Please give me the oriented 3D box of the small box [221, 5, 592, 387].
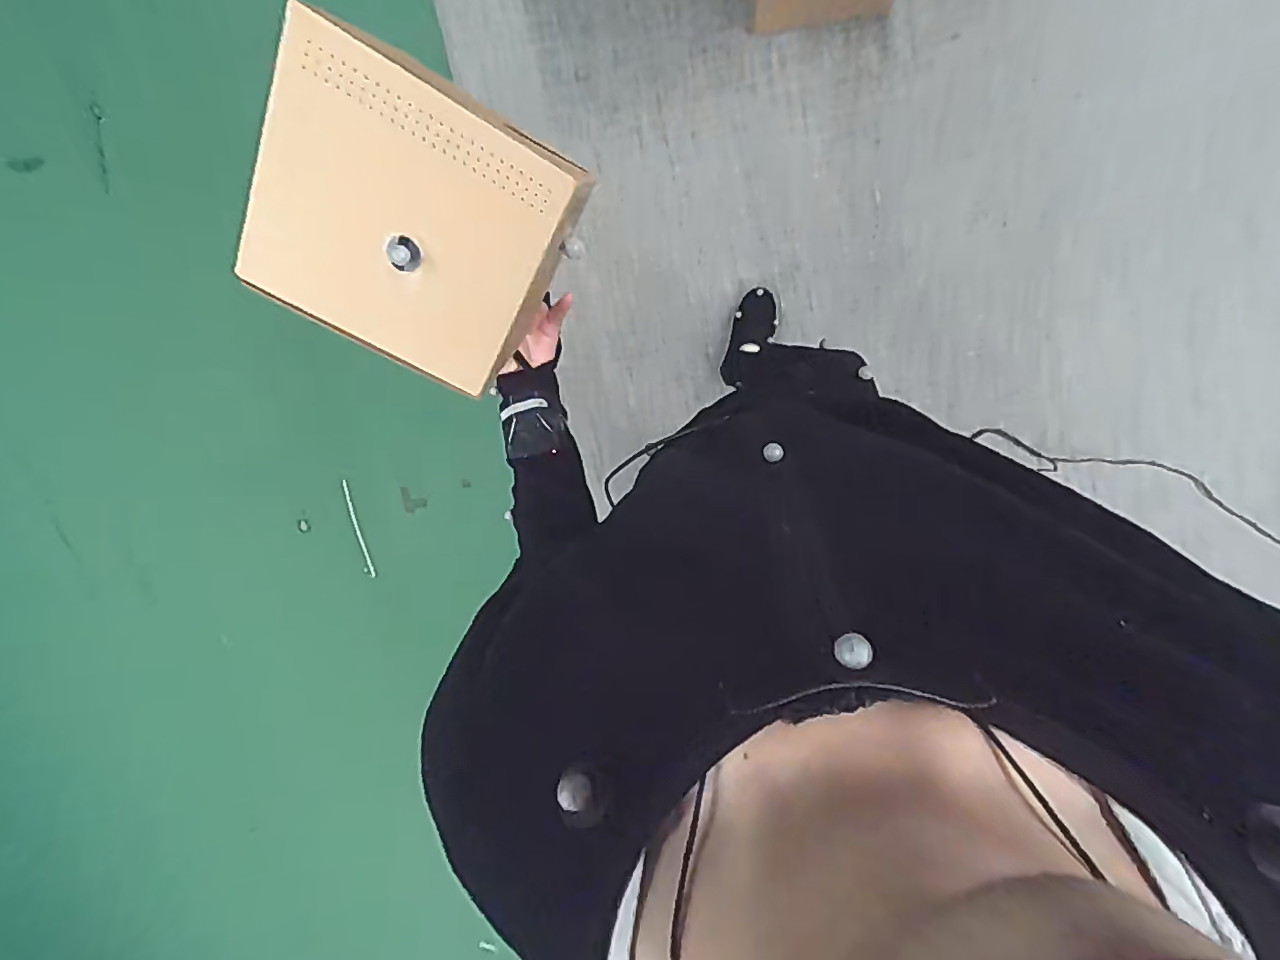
[{"bbox_3d":[-0.154,-0.204,0.400,0.179,0.168,0.176,26,116,-14],"label":"small box"}]
